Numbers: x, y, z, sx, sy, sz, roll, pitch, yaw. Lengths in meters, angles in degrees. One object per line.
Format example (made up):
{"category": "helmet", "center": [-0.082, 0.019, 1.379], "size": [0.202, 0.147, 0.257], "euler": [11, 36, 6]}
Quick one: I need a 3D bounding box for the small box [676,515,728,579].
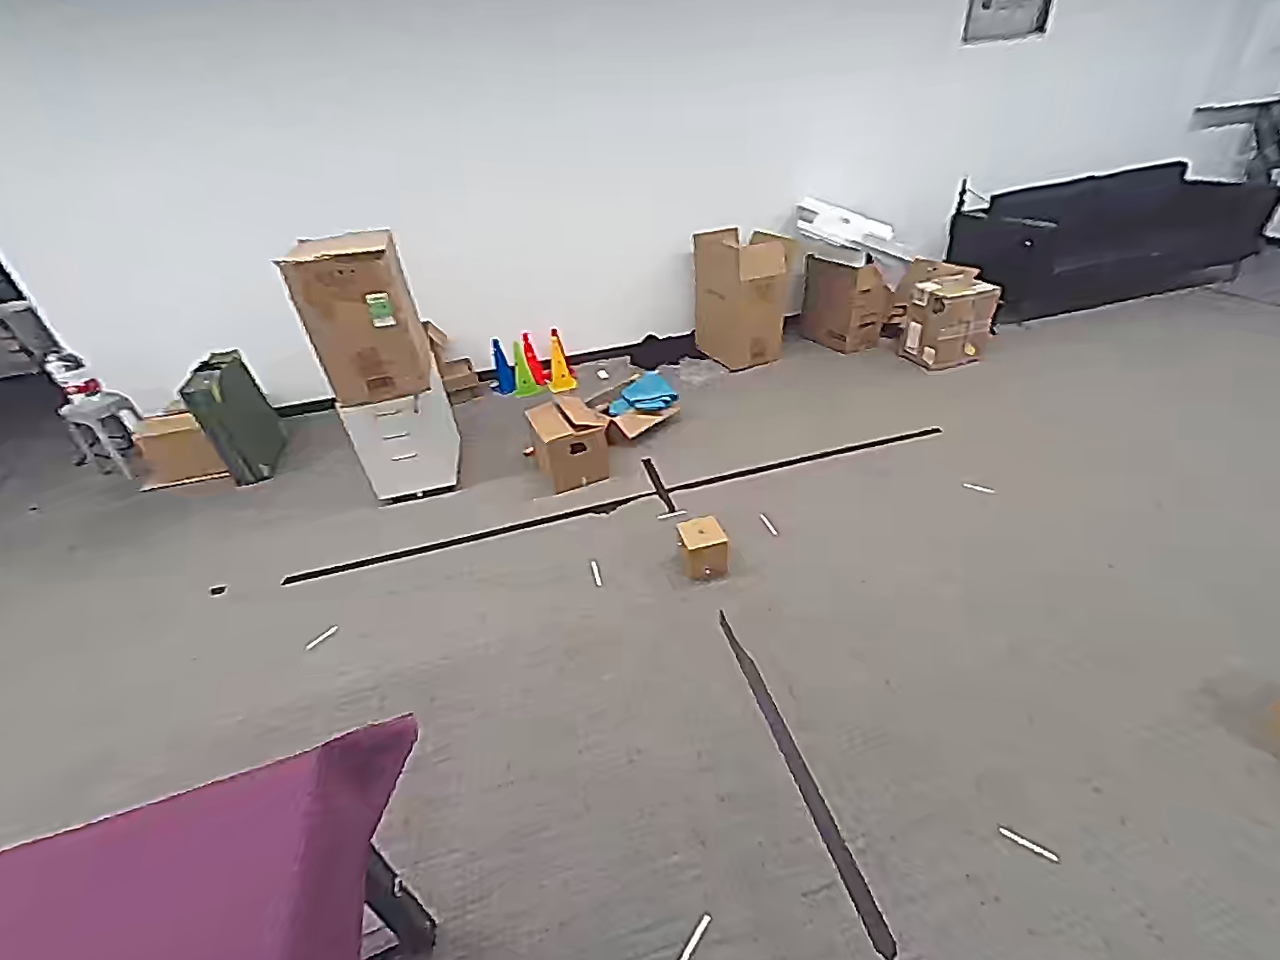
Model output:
{"category": "small box", "center": [0.253, 0.275, 2.218], "size": [0.168, 0.176, 0.179], "euler": [-13, 35, -9]}
